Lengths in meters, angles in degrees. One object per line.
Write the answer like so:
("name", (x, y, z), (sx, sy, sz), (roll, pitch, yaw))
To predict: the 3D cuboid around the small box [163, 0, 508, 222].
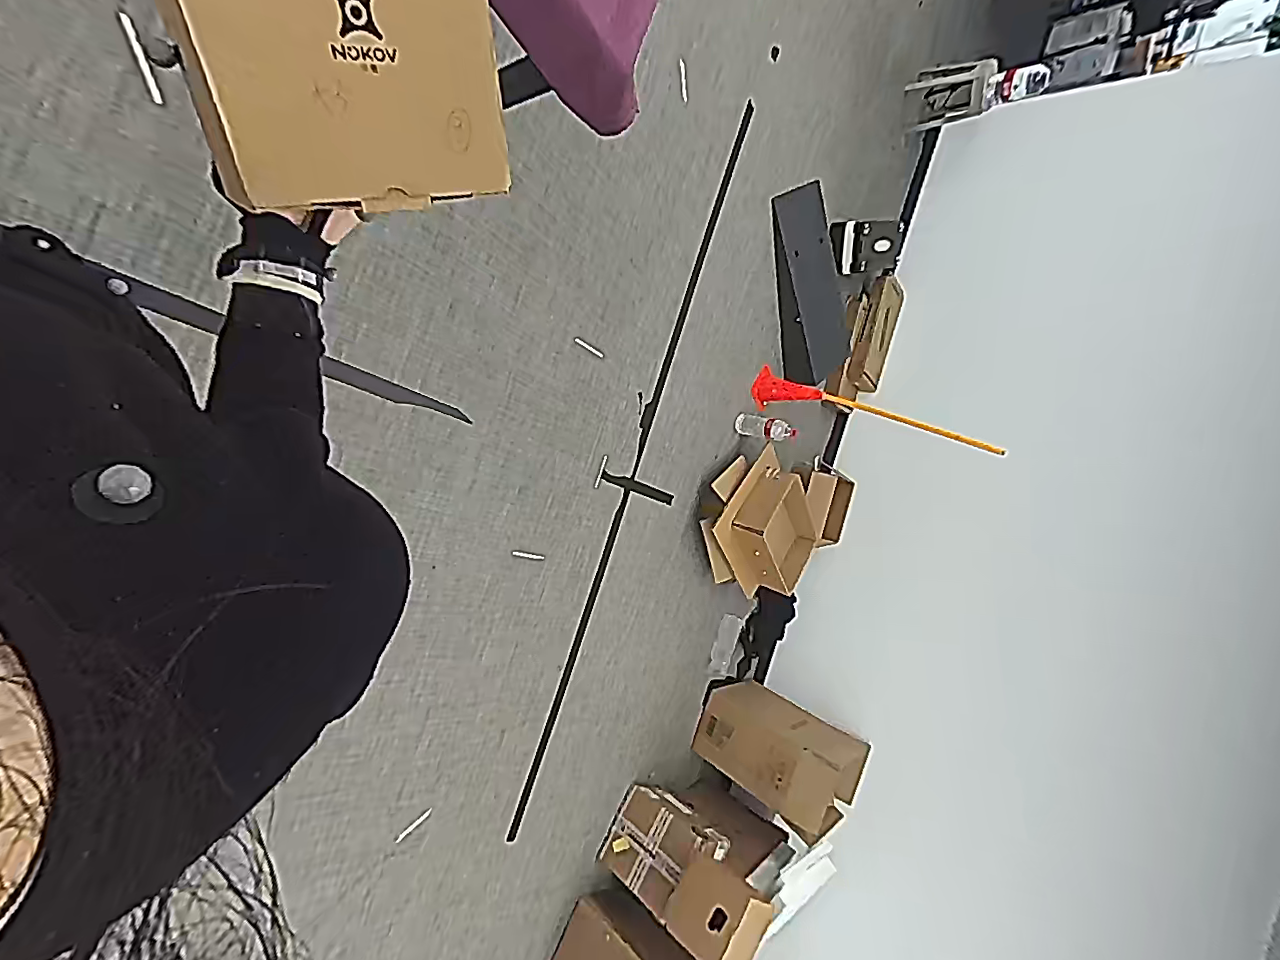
("small box", (-0.212, -0.289, 0.375), (0.168, 0.176, 0.179), (-23, 128, -31))
